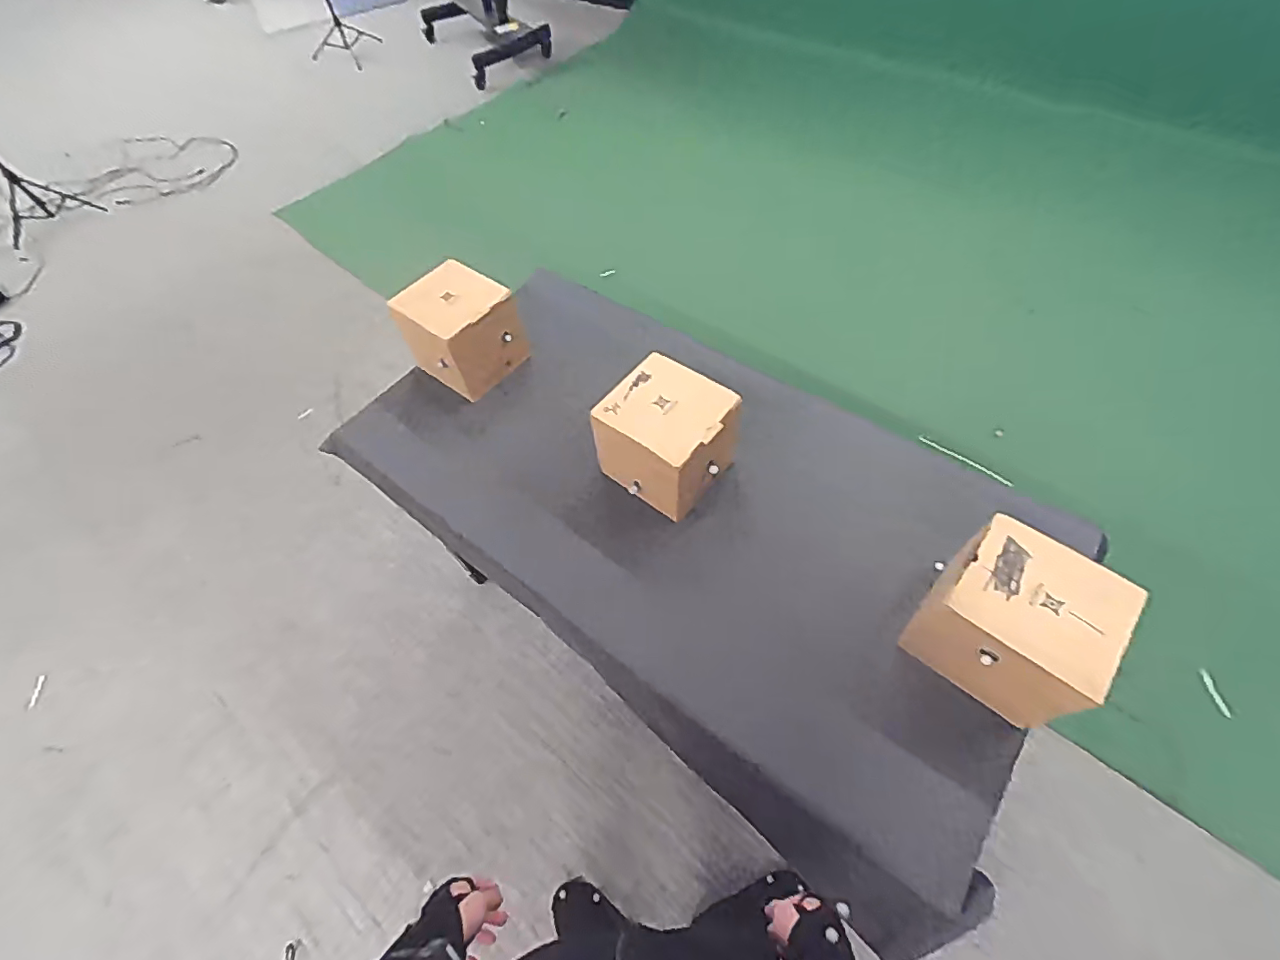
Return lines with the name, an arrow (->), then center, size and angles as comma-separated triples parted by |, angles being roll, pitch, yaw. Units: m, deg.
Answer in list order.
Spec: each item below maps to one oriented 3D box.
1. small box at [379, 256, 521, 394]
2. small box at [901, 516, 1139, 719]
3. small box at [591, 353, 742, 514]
small box -> -0.355, -0.293, 1.046 | 0.179, 0.176, 0.168 | 31, 61, 21
small box -> 0.483, 0.187, 0.713 | 0.179, 0.176, 0.168 | 35, 64, 21
small box -> 0.042, -0.067, 0.891 | 0.179, 0.176, 0.168 | 34, 63, 20
